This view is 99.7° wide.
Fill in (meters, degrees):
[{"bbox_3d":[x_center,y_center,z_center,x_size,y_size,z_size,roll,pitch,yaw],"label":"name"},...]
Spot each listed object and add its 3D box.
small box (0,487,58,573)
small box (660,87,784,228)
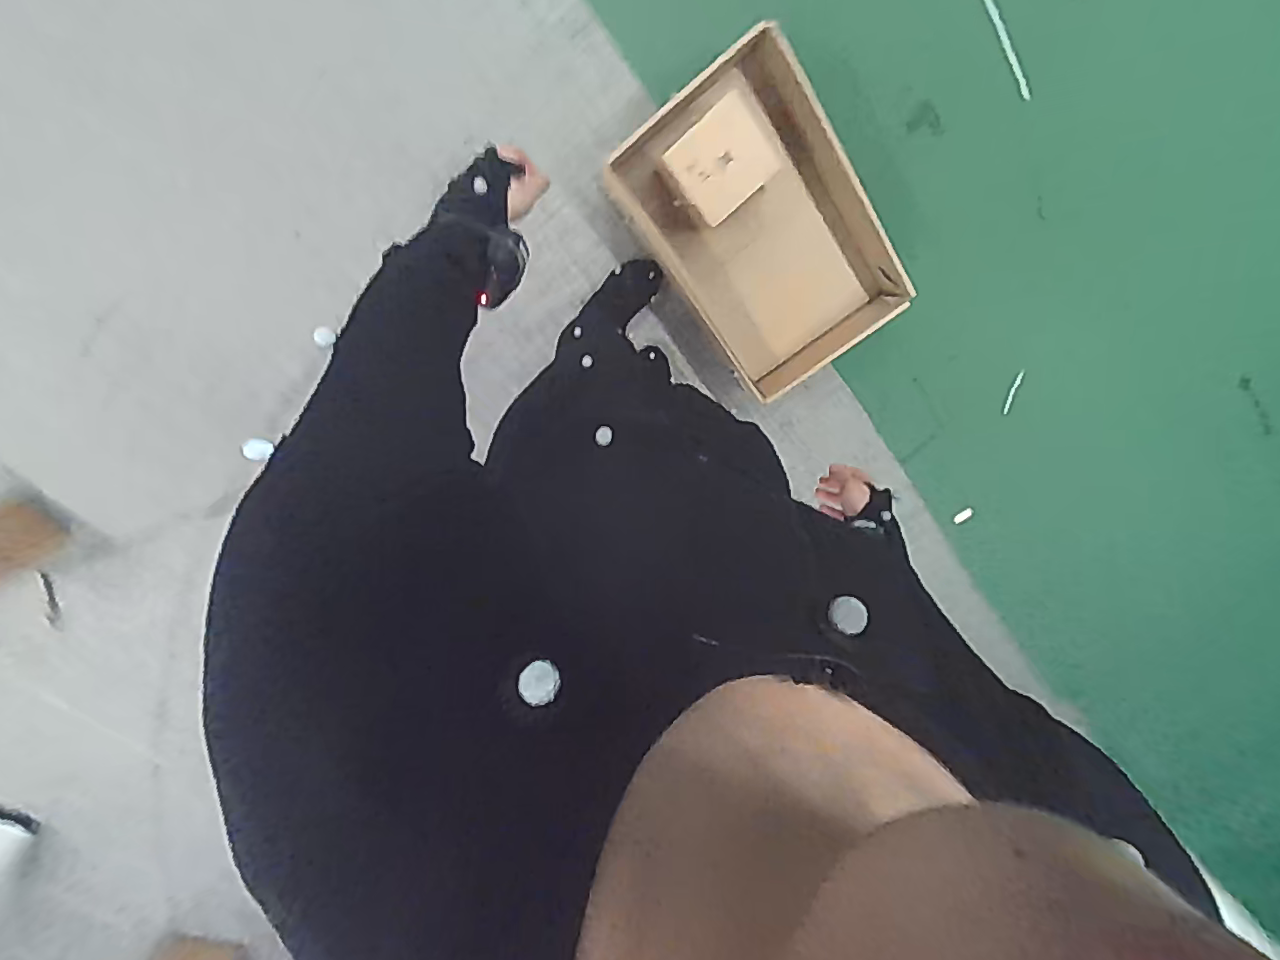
[{"bbox_3d":[-1.708,0.145,1.409,0.168,0.176,0.179,-35,109,11],"label":"small box"},{"bbox_3d":[0.156,-0.639,1.097,0.179,0.176,0.168,-37,109,13],"label":"small box"}]
